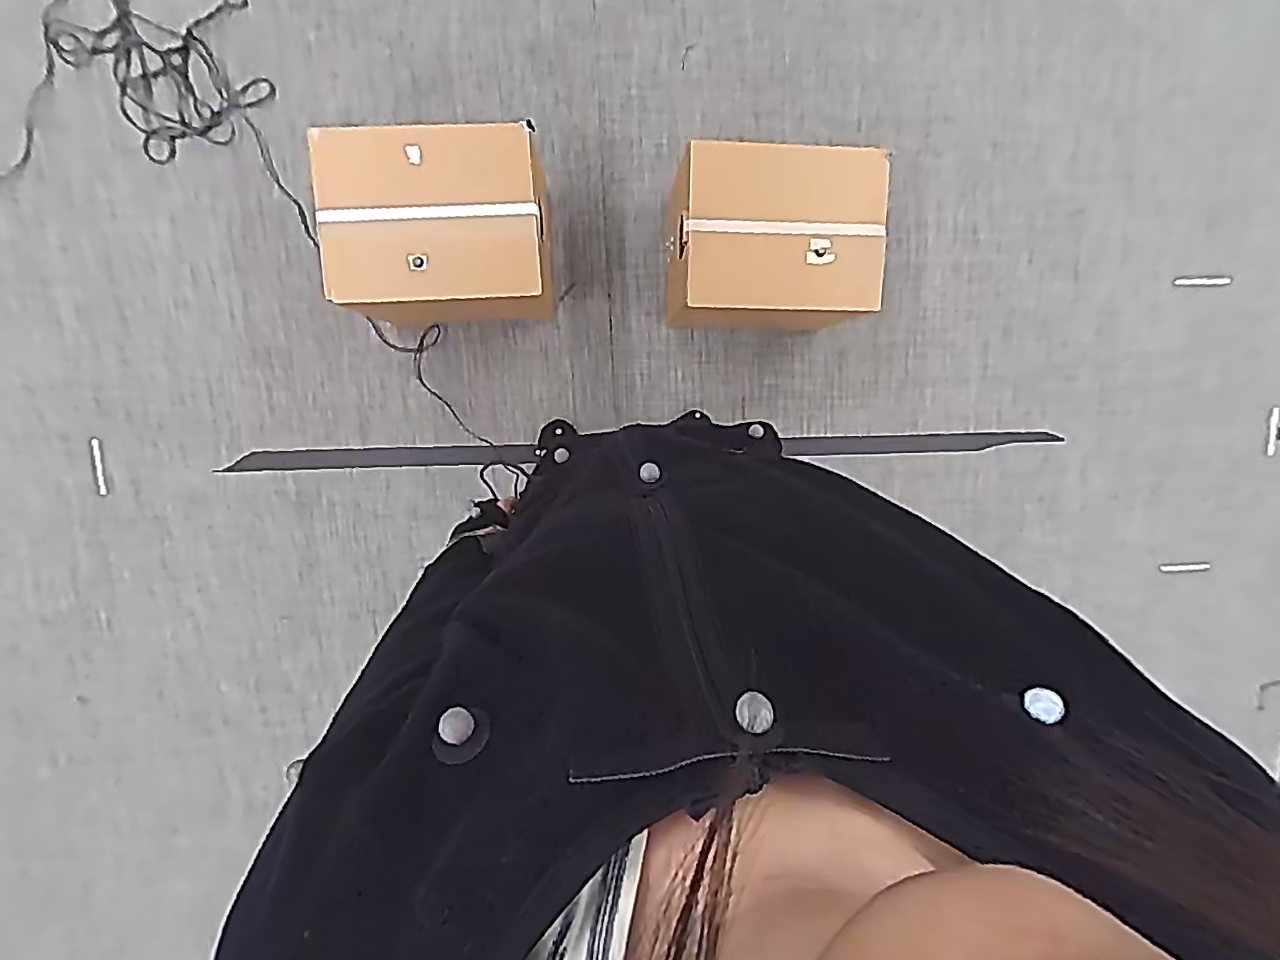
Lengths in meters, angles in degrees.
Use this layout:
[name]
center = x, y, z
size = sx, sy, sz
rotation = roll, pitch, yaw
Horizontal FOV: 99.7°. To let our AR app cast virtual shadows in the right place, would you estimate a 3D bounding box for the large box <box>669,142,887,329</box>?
[large box]
center = 0.283, -0.525, 1.230
size = 0.408, 0.320, 0.320
rotation = 0, 98, -5
